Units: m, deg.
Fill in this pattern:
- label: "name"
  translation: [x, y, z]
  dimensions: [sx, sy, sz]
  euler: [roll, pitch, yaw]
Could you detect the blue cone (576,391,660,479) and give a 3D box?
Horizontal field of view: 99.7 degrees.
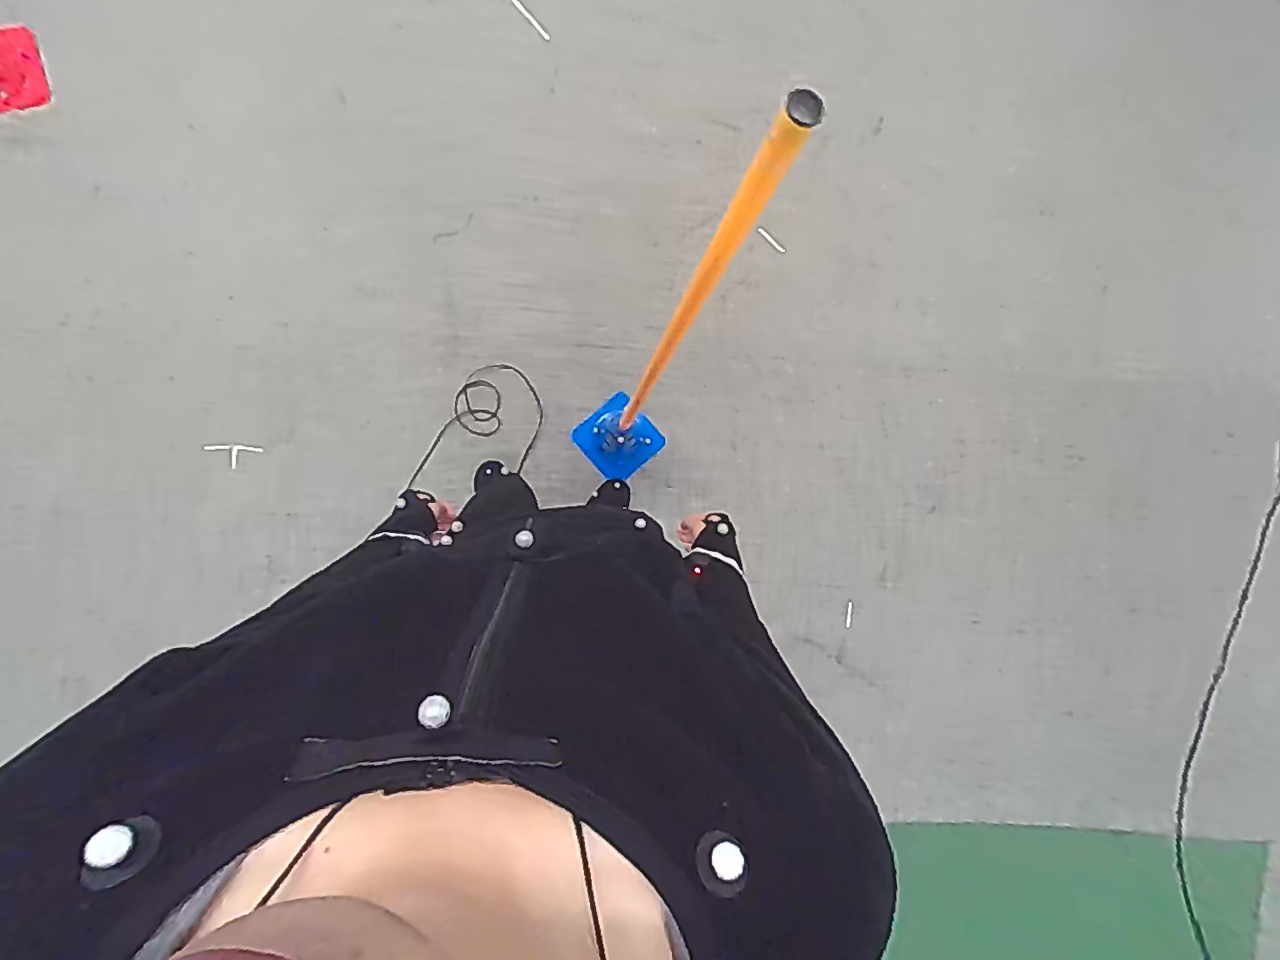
- label: "blue cone"
  translation: [-0.044, -0.127, 1.314]
  dimensions: [0.193, 0.380, 0.192]
  euler: [-42, 93, -4]
